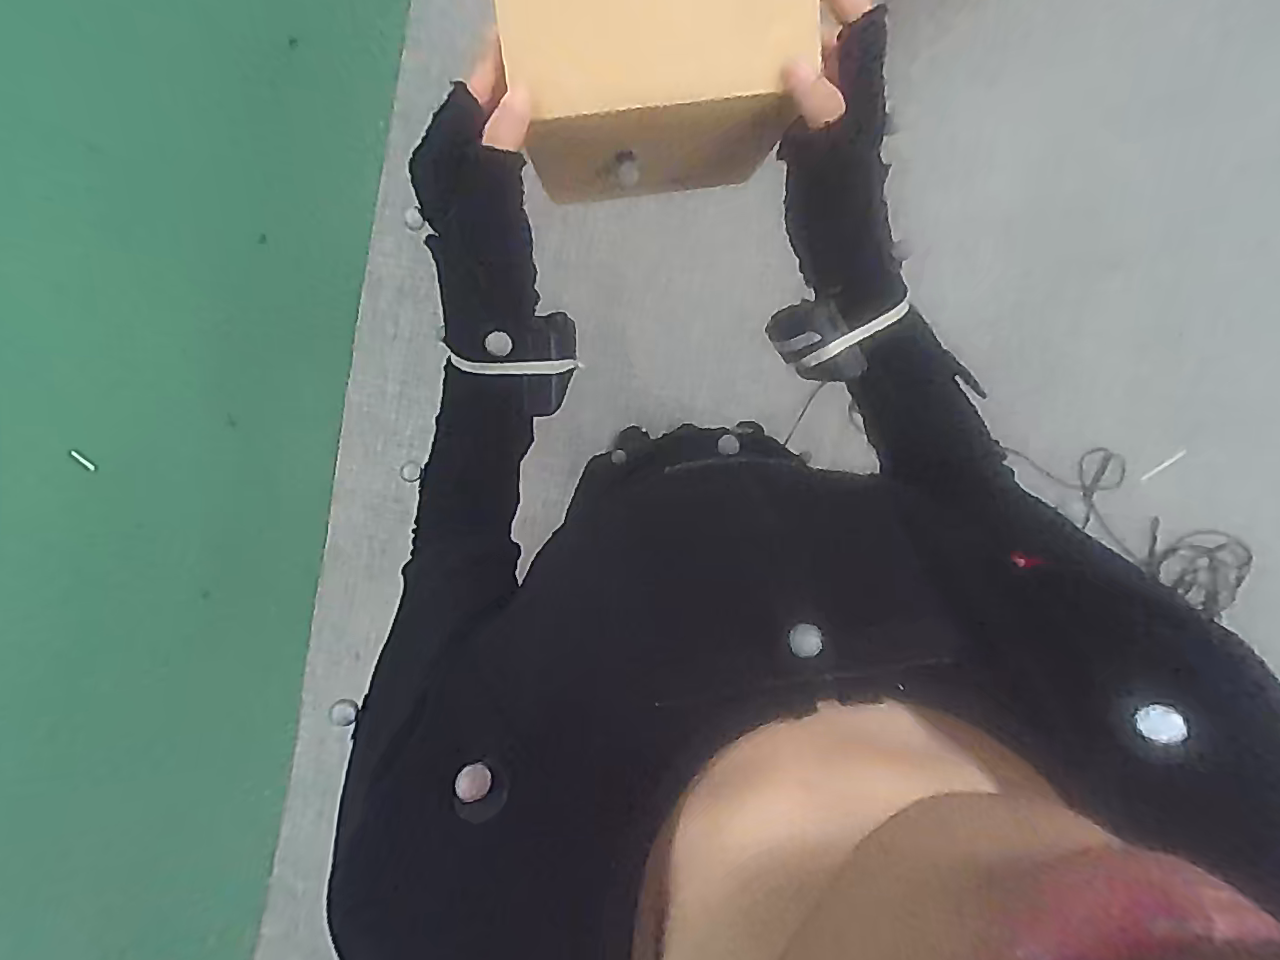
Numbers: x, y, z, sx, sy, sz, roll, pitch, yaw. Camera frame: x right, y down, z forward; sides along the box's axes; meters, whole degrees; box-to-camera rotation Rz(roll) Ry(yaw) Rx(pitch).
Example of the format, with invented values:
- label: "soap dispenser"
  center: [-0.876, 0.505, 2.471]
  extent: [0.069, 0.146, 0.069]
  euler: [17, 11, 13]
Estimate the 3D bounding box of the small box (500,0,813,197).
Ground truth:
- label: "small box"
  center: [0.004, -0.302, 0.354]
  extent: [0.168, 0.176, 0.179]
  euler: [-7, 103, 0]
